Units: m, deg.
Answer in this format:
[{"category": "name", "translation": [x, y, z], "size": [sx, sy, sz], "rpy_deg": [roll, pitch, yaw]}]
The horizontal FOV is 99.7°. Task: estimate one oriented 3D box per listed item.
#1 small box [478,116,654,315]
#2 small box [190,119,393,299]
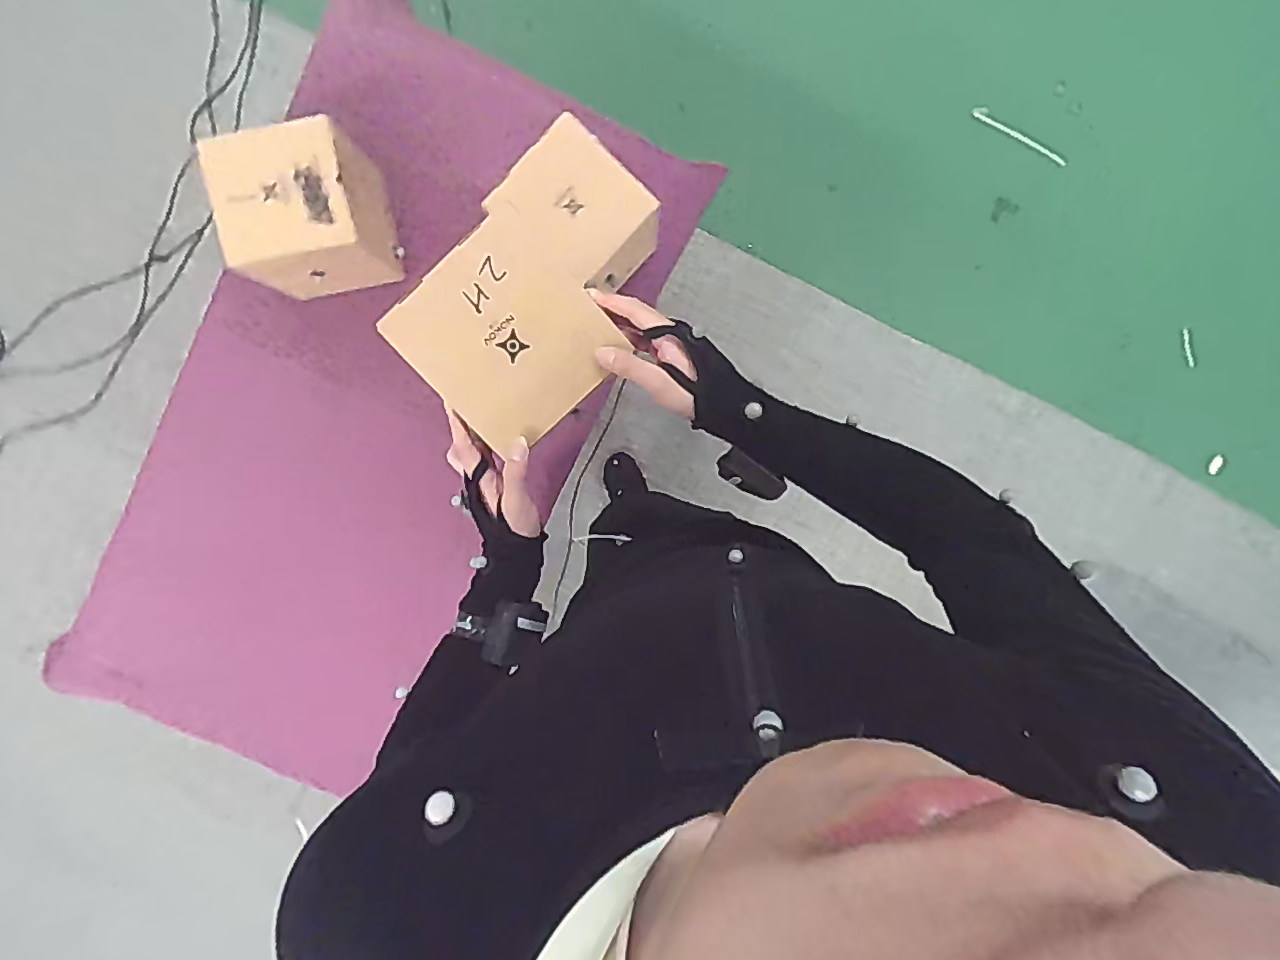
[{"category": "small box", "translation": [-0.095, -0.363, 0.788], "size": [0.179, 0.176, 0.168], "rpy_deg": [43, 93, -2]}, {"category": "small box", "translation": [-0.479, -0.375, 0.778], "size": [0.179, 0.176, 0.168], "rpy_deg": [-12, 94, -1]}]
